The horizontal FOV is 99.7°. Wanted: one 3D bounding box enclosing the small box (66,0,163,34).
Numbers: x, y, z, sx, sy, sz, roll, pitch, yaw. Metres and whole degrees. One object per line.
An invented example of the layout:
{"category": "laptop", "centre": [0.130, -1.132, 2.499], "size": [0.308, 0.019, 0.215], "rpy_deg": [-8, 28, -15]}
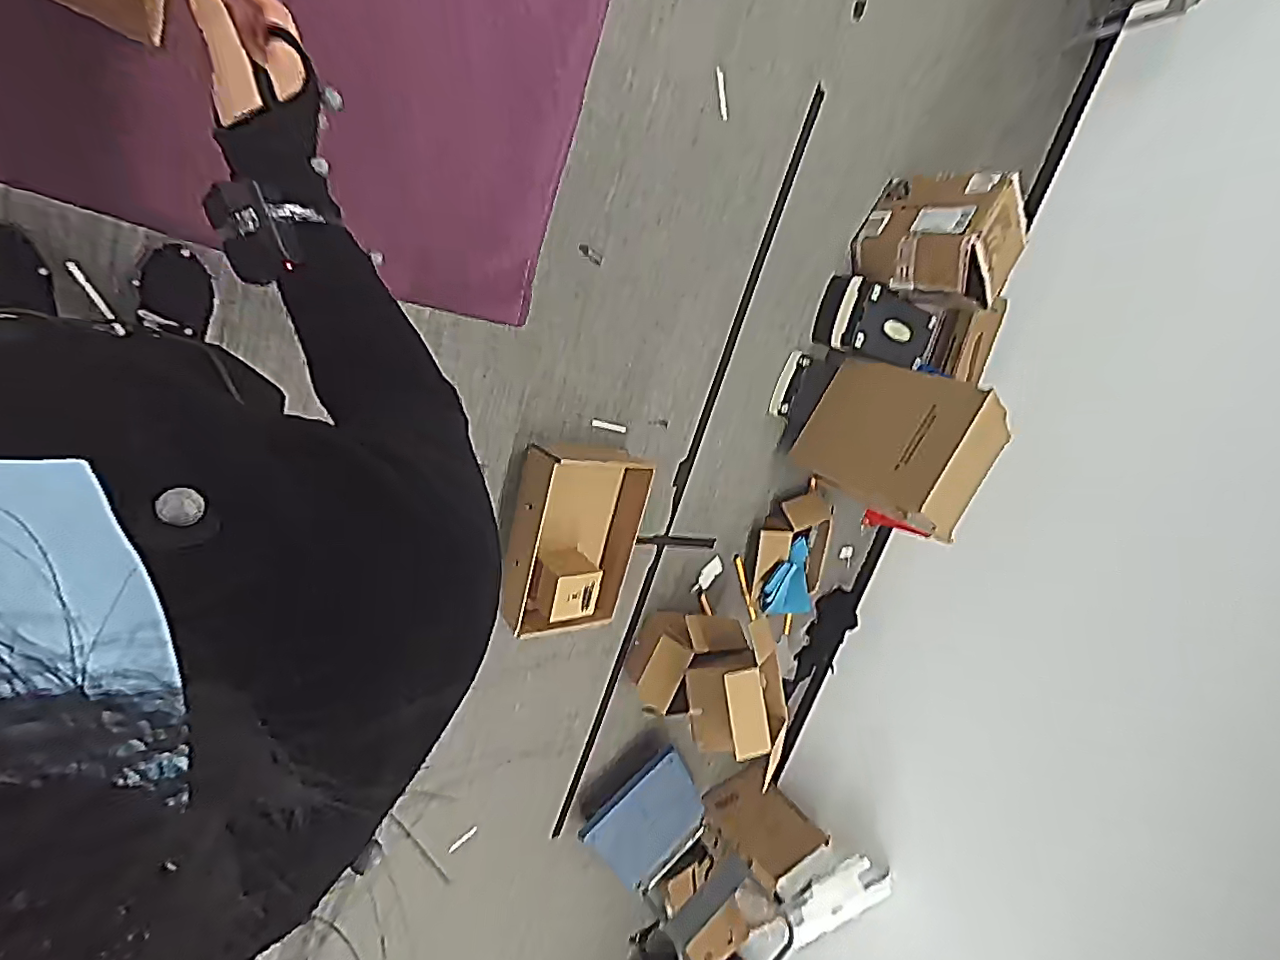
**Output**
{"category": "small box", "centre": [-0.414, -0.452, 0.355], "size": [0.168, 0.176, 0.179], "rpy_deg": [10, 105, -42]}
